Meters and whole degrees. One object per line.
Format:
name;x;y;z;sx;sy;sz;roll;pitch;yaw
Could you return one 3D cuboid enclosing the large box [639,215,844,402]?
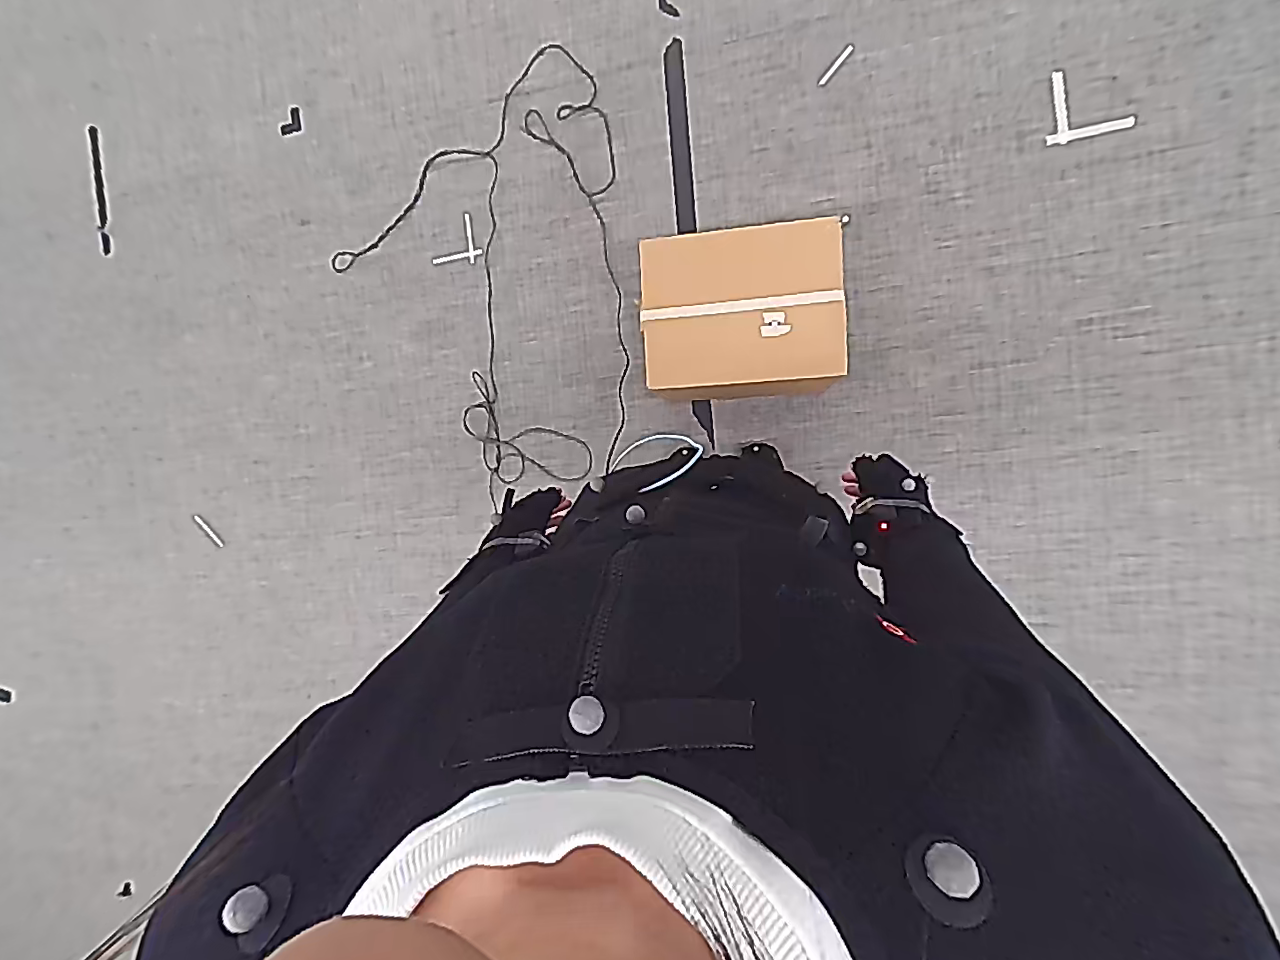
large box;0.226;-0.364;1.250;0.408;0.320;0.320;-3;93;10
